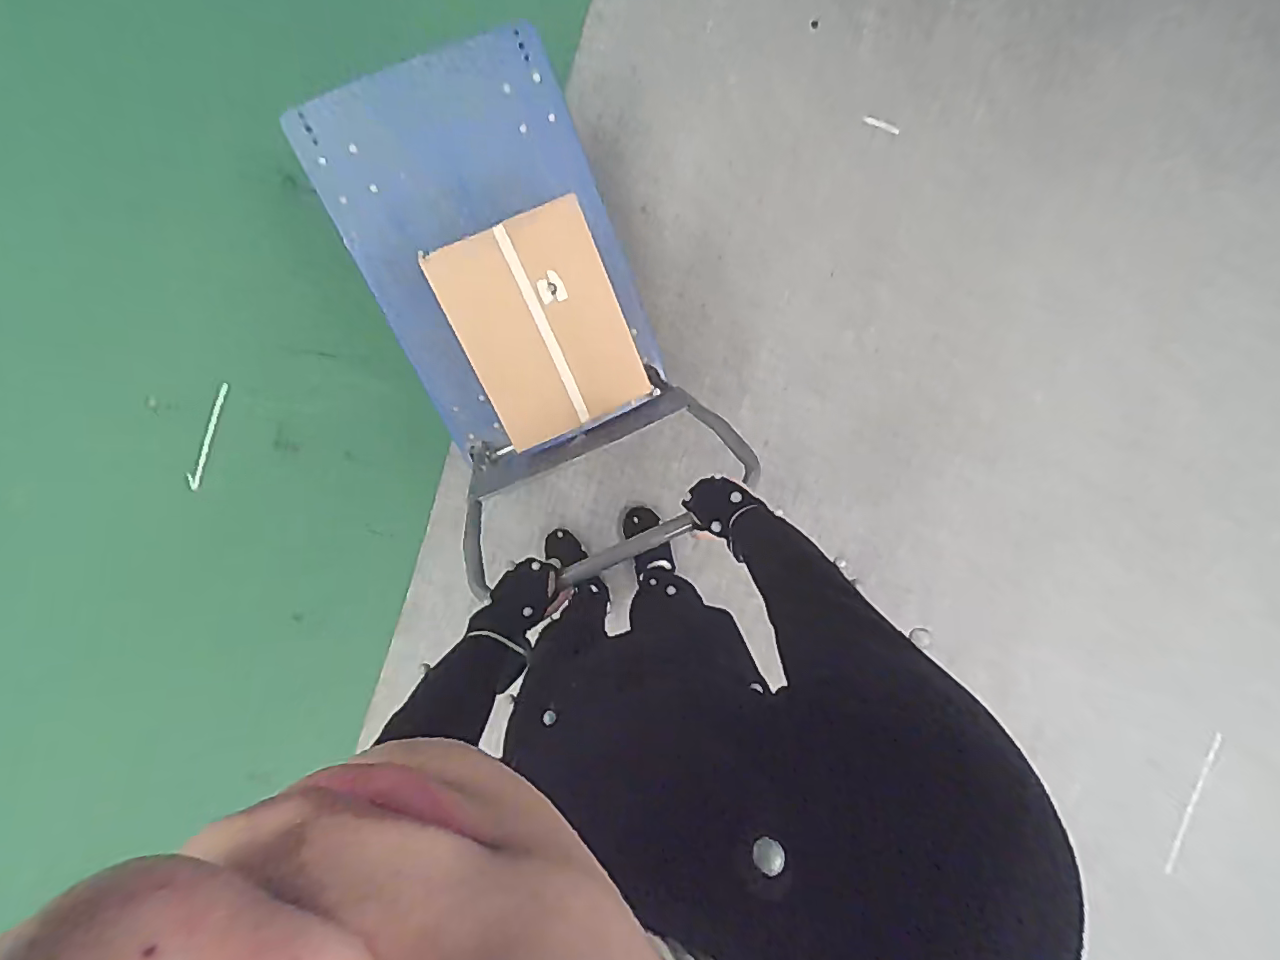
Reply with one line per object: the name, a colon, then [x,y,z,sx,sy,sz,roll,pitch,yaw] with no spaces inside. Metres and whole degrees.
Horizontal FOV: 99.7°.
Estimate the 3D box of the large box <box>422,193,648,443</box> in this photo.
large box: [-0.219,-0.352,1.208,0.320,0.320,0.408,-24,112,-4]
